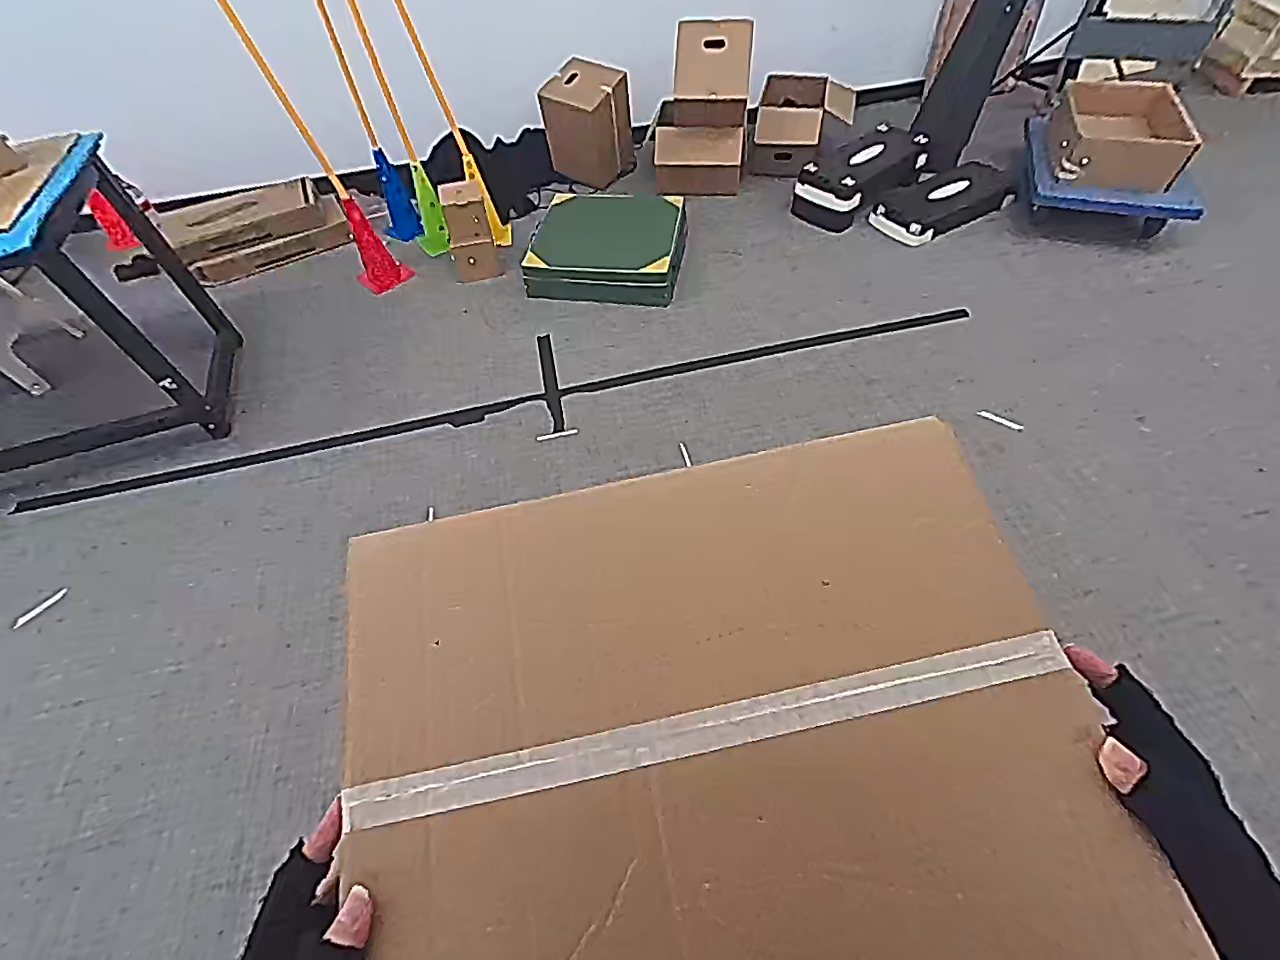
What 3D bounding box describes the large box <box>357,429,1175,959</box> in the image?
[{"bbox_3d":[0.046,0.200,0.447,0.408,0.320,0.320,-12,65,-1],"label":"large box"}]
